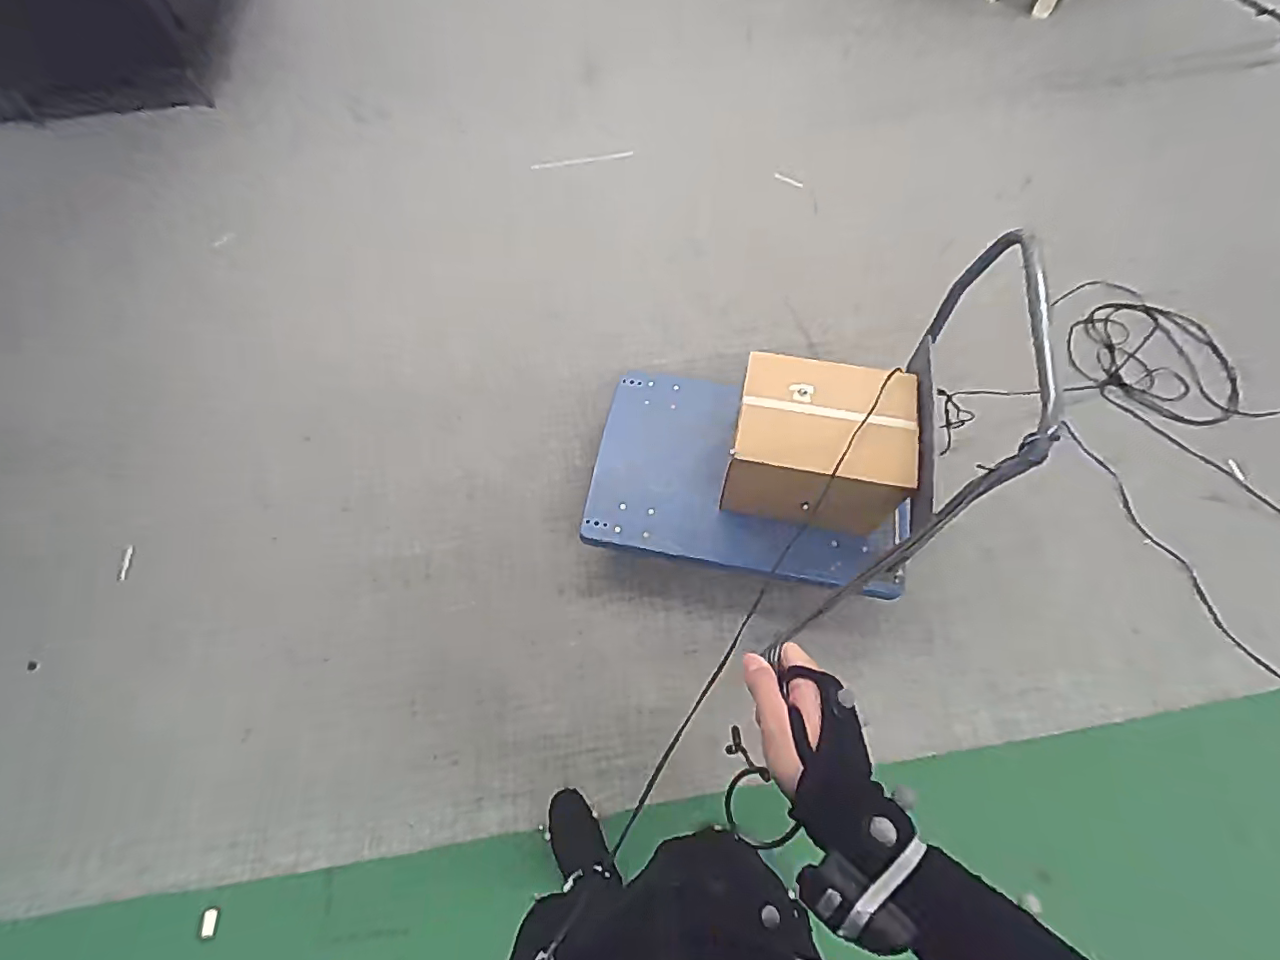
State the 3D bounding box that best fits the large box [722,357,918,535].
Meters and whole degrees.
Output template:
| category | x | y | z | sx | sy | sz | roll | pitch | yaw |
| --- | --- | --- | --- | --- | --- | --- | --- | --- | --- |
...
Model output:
| category | x | y | z | sx | sy | sz | roll | pitch | yaw |
| --- | --- | --- | --- | --- | --- | --- | --- | --- | --- |
| large box | 0.442 | -0.076 | 1.381 | 0.408 | 0.320 | 0.320 | 10 | 65 | 7 |
